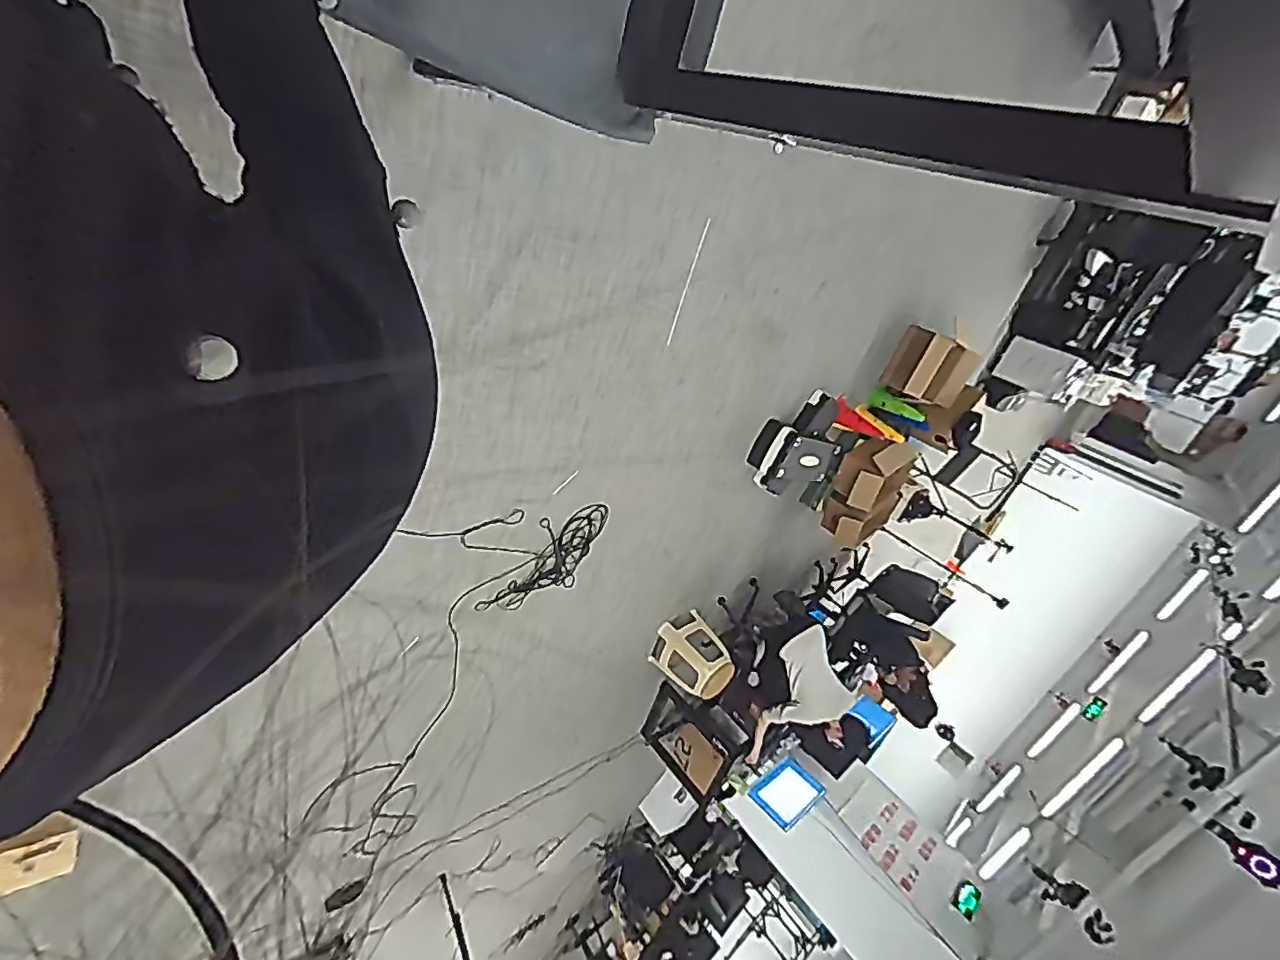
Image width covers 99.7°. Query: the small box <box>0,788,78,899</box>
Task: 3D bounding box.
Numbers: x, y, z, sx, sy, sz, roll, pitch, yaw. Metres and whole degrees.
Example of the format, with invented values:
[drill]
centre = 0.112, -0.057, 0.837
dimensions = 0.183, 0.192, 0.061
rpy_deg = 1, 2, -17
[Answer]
[small box]
centre = -1.626, 0.960, 1.440
dimensions = 0.168, 0.176, 0.179
rpy_deg = 3, 119, -48
